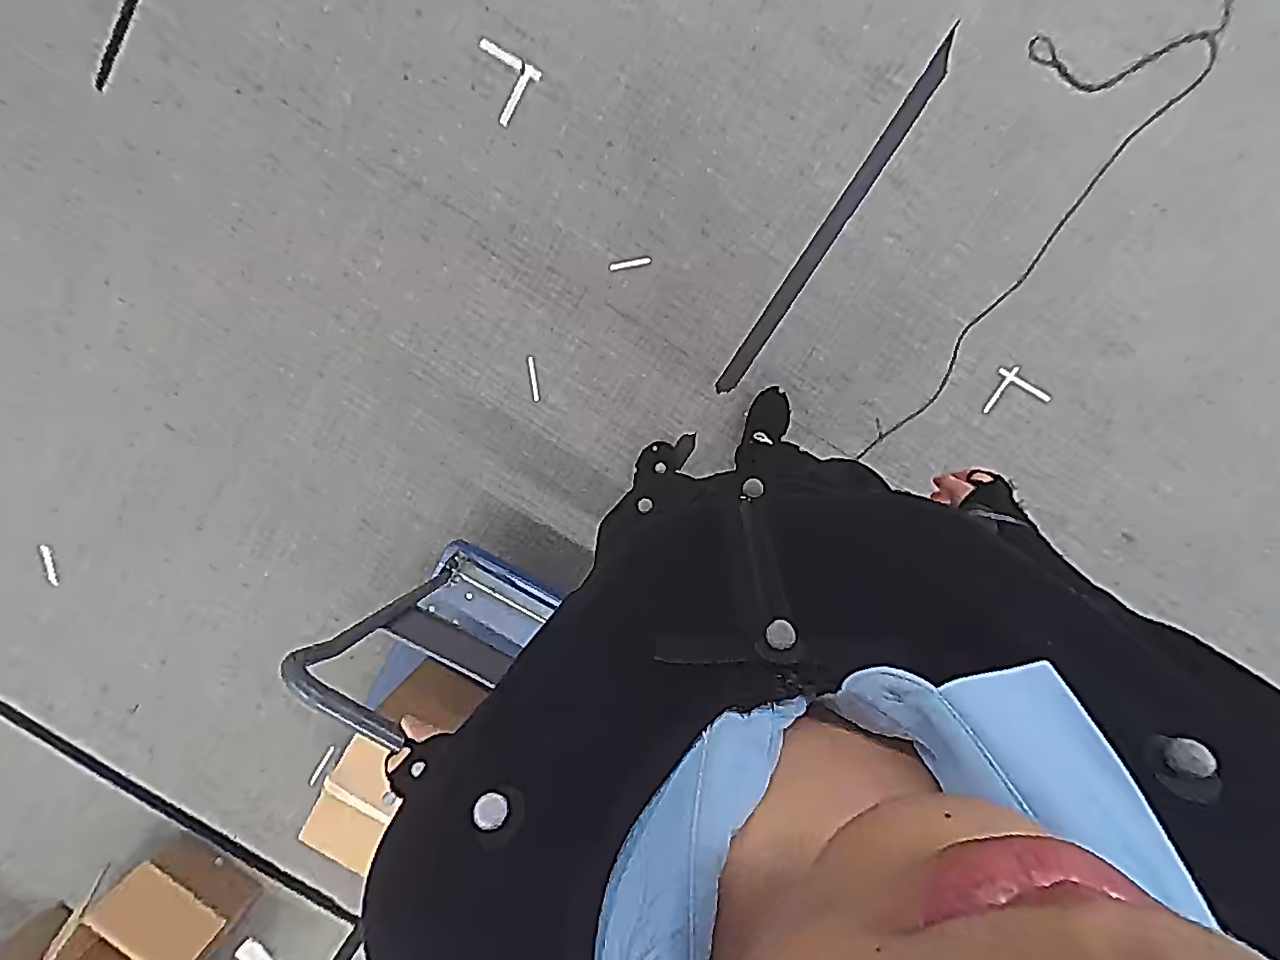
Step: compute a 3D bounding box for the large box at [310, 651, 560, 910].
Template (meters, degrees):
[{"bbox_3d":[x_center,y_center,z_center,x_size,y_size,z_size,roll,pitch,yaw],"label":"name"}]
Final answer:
[{"bbox_3d":[-0.457,0.682,1.285,0.408,0.320,0.320,31,98,-2],"label":"large box"}]
